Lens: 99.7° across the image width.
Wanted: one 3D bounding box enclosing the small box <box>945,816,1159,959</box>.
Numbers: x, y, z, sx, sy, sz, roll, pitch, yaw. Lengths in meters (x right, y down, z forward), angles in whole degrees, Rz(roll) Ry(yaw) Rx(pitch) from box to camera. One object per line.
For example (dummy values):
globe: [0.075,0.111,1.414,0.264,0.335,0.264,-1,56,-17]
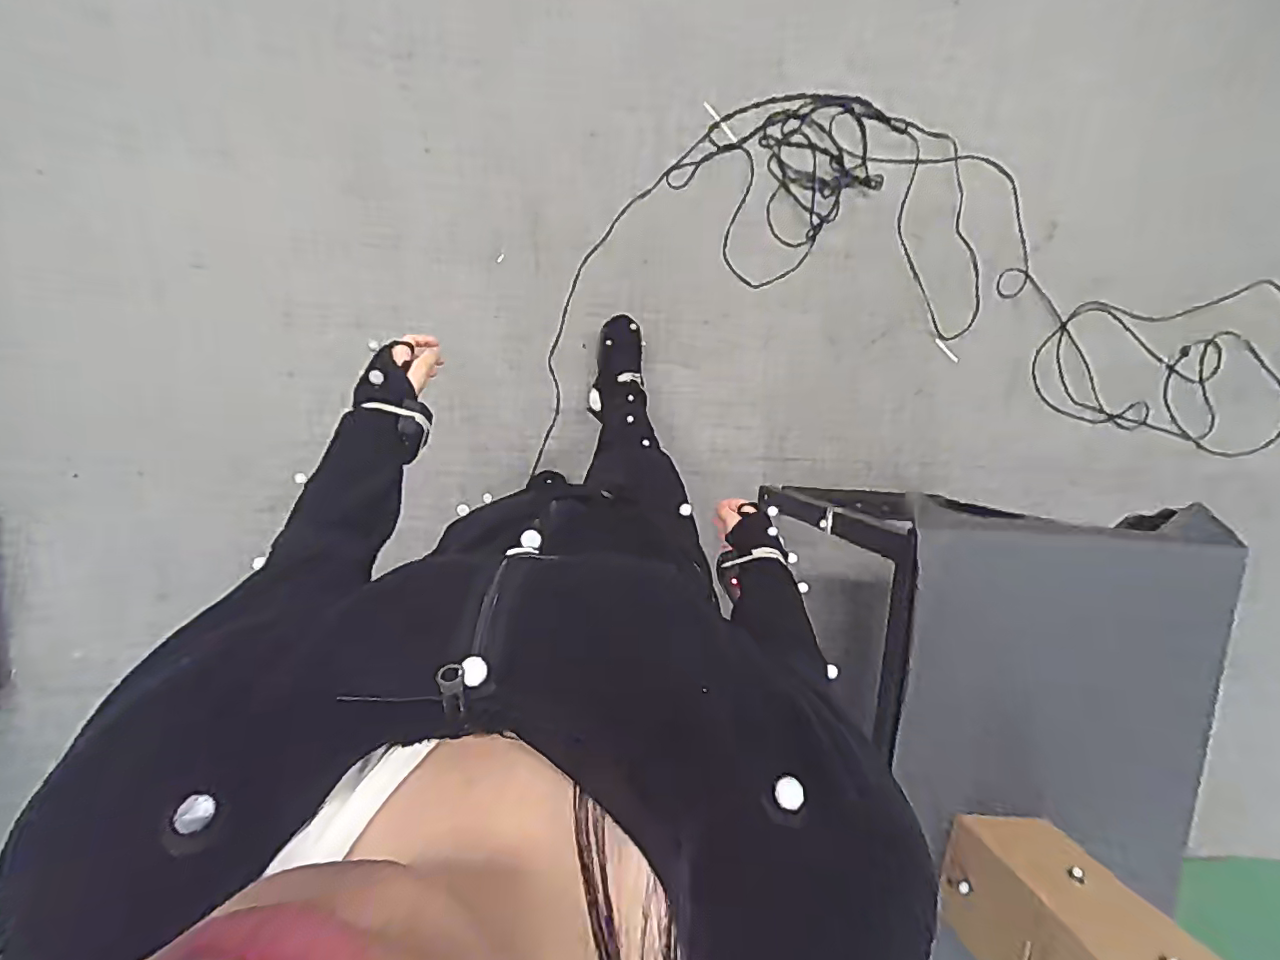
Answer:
small box: [0.608,0.643,0.818,0.179,0.176,0.168,8,95,-8]
